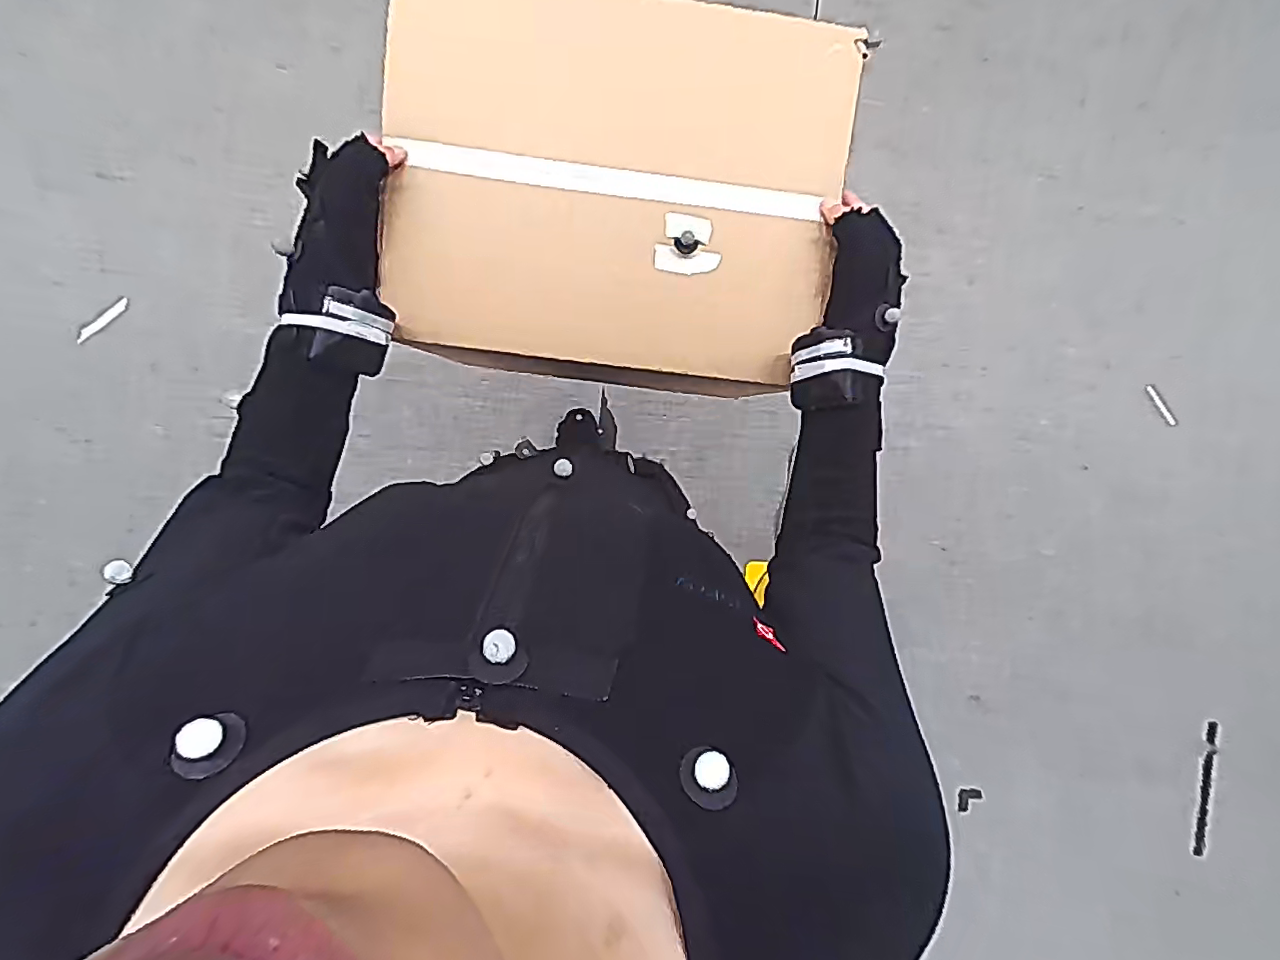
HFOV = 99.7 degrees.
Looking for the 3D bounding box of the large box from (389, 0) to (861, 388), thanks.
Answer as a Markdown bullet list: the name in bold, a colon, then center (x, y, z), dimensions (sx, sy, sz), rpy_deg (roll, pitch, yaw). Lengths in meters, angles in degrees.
- **large box**: center (-0.025, -0.287, 0.628), dimensions (0.408, 0.320, 0.320), rpy_deg (6, 97, -5)
